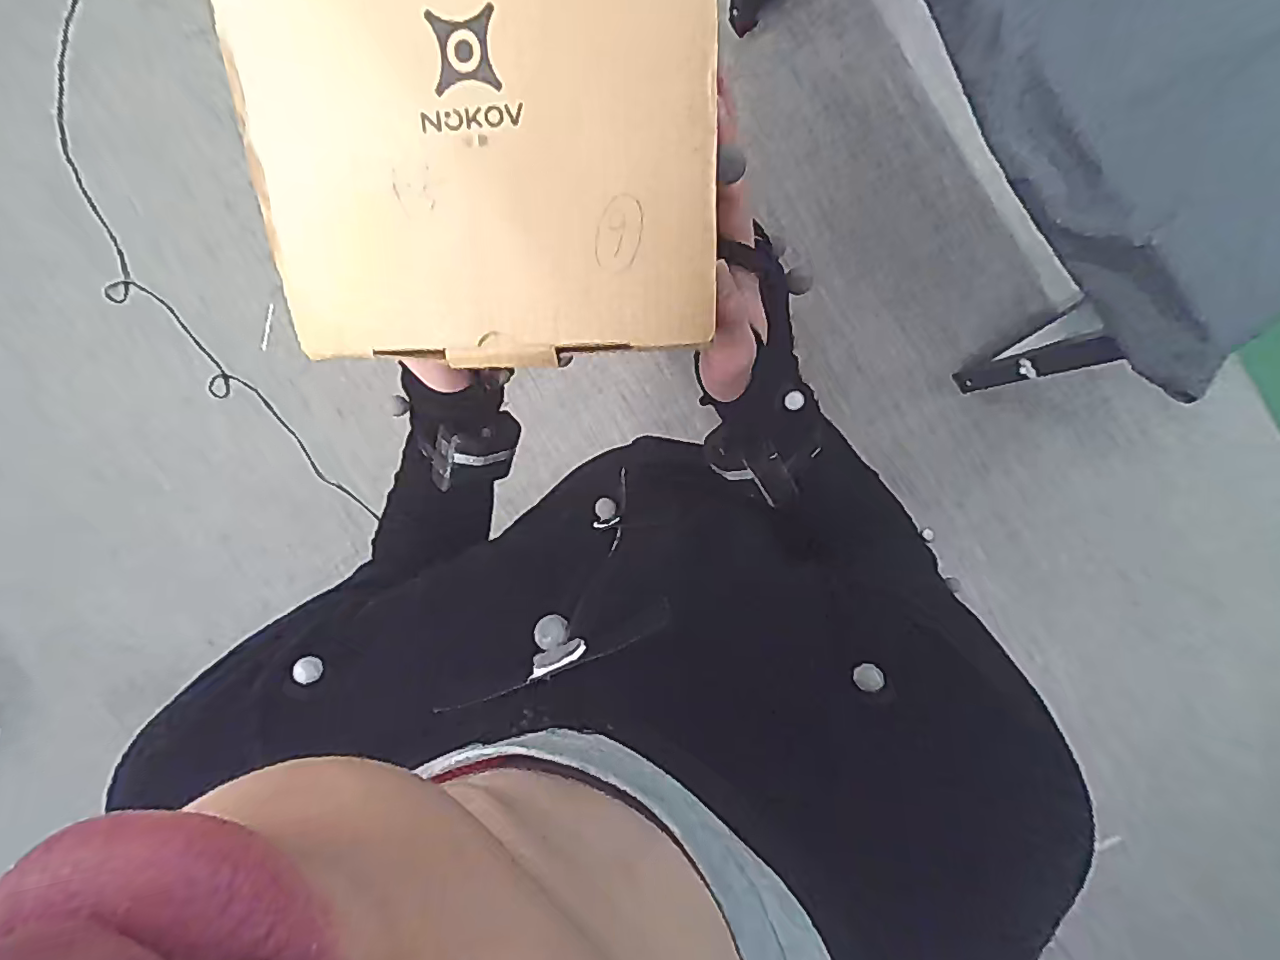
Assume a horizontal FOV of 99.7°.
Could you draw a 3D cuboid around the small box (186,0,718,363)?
[{"bbox_3d":[-0.051,-0.156,0.243,0.168,0.176,0.179,-1,112,5],"label":"small box"}]
